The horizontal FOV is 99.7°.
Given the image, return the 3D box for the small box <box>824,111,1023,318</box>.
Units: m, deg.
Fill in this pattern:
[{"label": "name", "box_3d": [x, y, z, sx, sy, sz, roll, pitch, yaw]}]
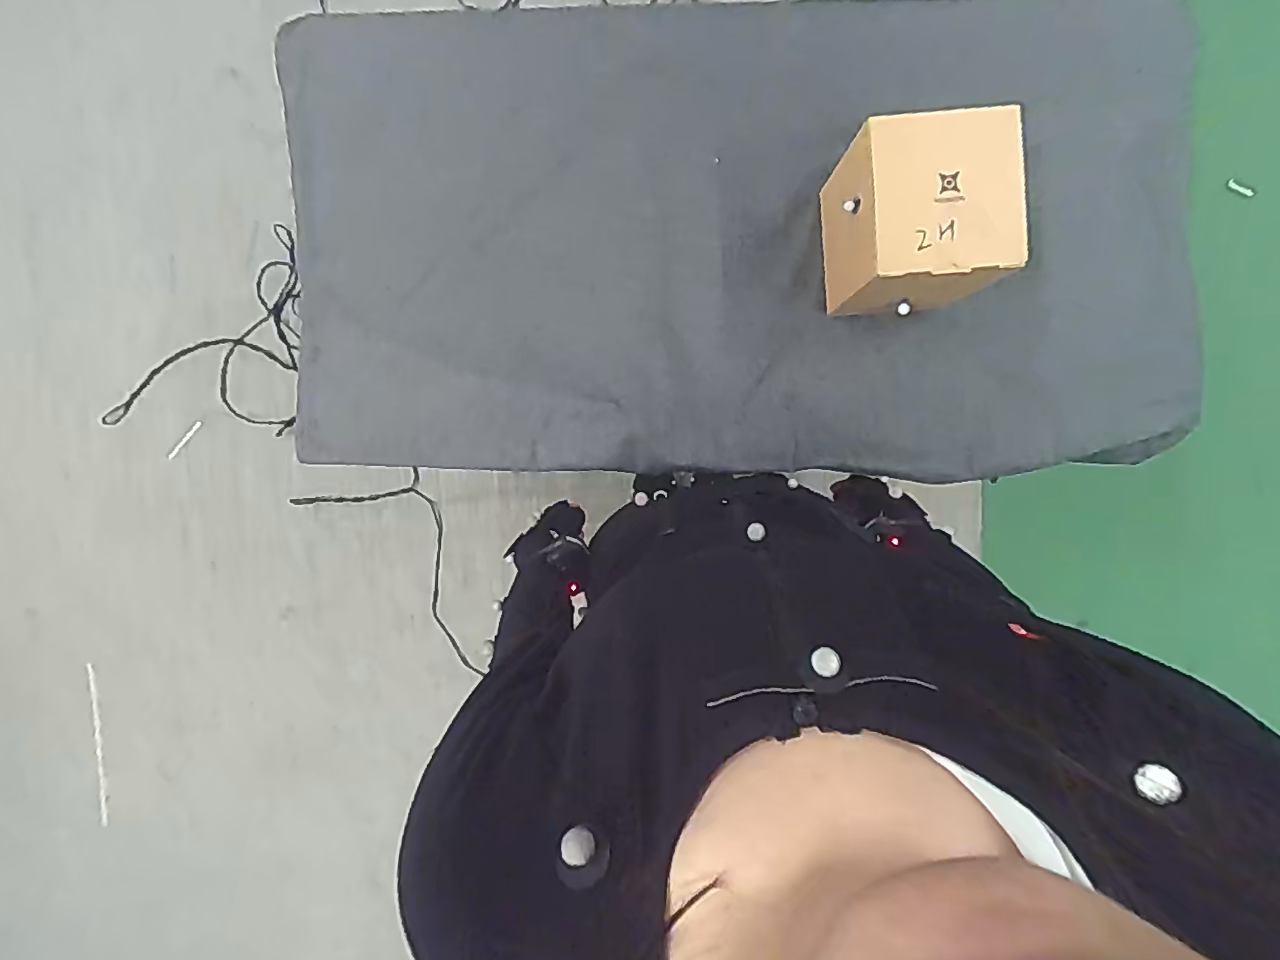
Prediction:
[{"label": "small box", "box_3d": [0.337, -0.316, 0.675, 0.168, 0.176, 0.179, -4, 92, 2]}]
